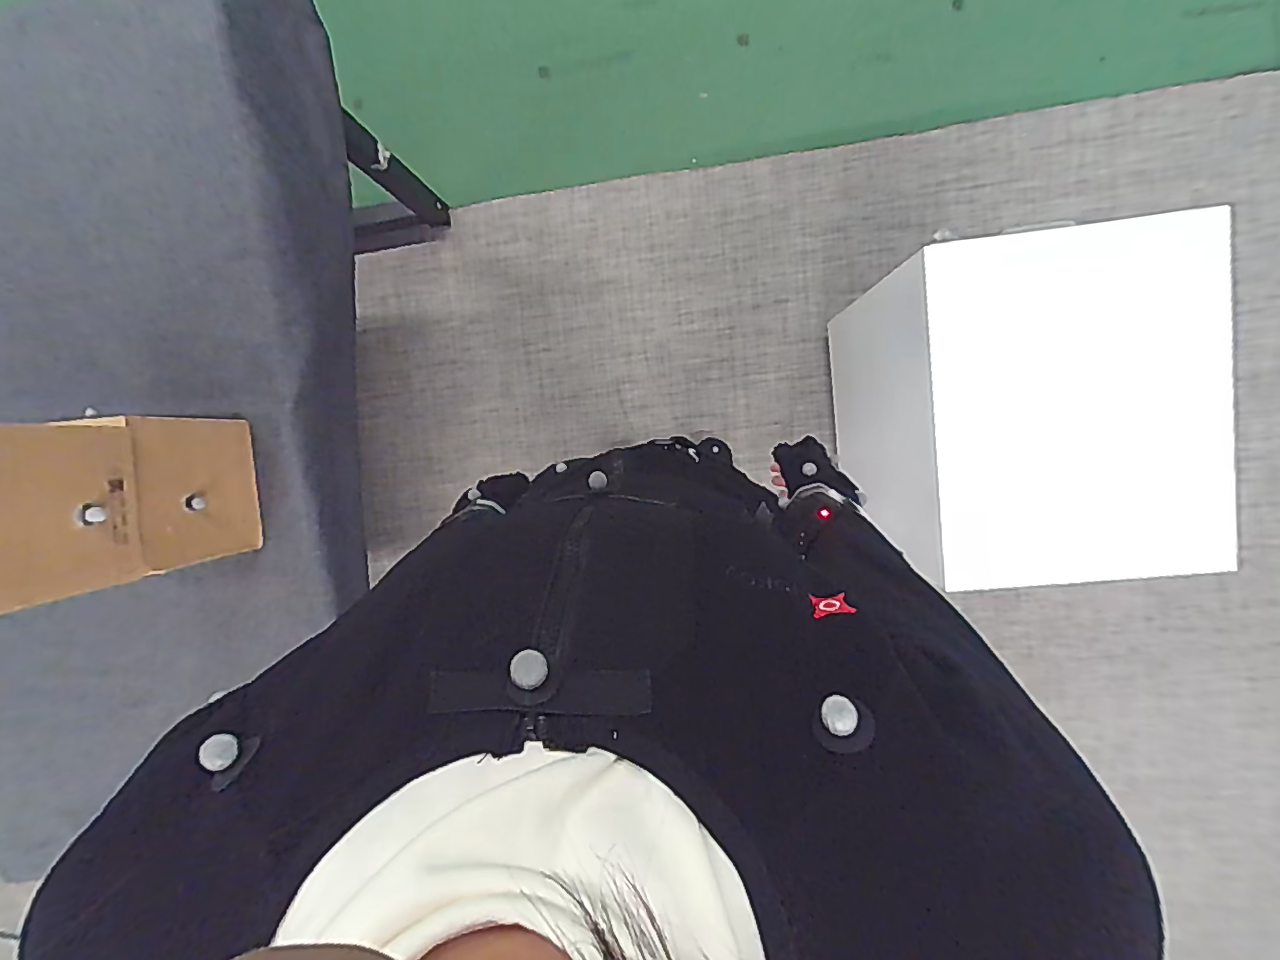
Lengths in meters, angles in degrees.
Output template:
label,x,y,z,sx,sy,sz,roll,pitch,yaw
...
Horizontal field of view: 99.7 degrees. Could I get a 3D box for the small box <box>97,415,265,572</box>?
label,x,y,z,sx,sy,sz,roll,pitch,yaw
small box,-0.613,0.010,0.681,0.168,0.176,0.179,-3,95,7

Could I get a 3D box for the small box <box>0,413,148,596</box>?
label,x,y,z,sx,sy,sz,roll,pitch,yaw
small box,-0.636,0.024,0.518,0.179,0.176,0.168,-3,95,8
